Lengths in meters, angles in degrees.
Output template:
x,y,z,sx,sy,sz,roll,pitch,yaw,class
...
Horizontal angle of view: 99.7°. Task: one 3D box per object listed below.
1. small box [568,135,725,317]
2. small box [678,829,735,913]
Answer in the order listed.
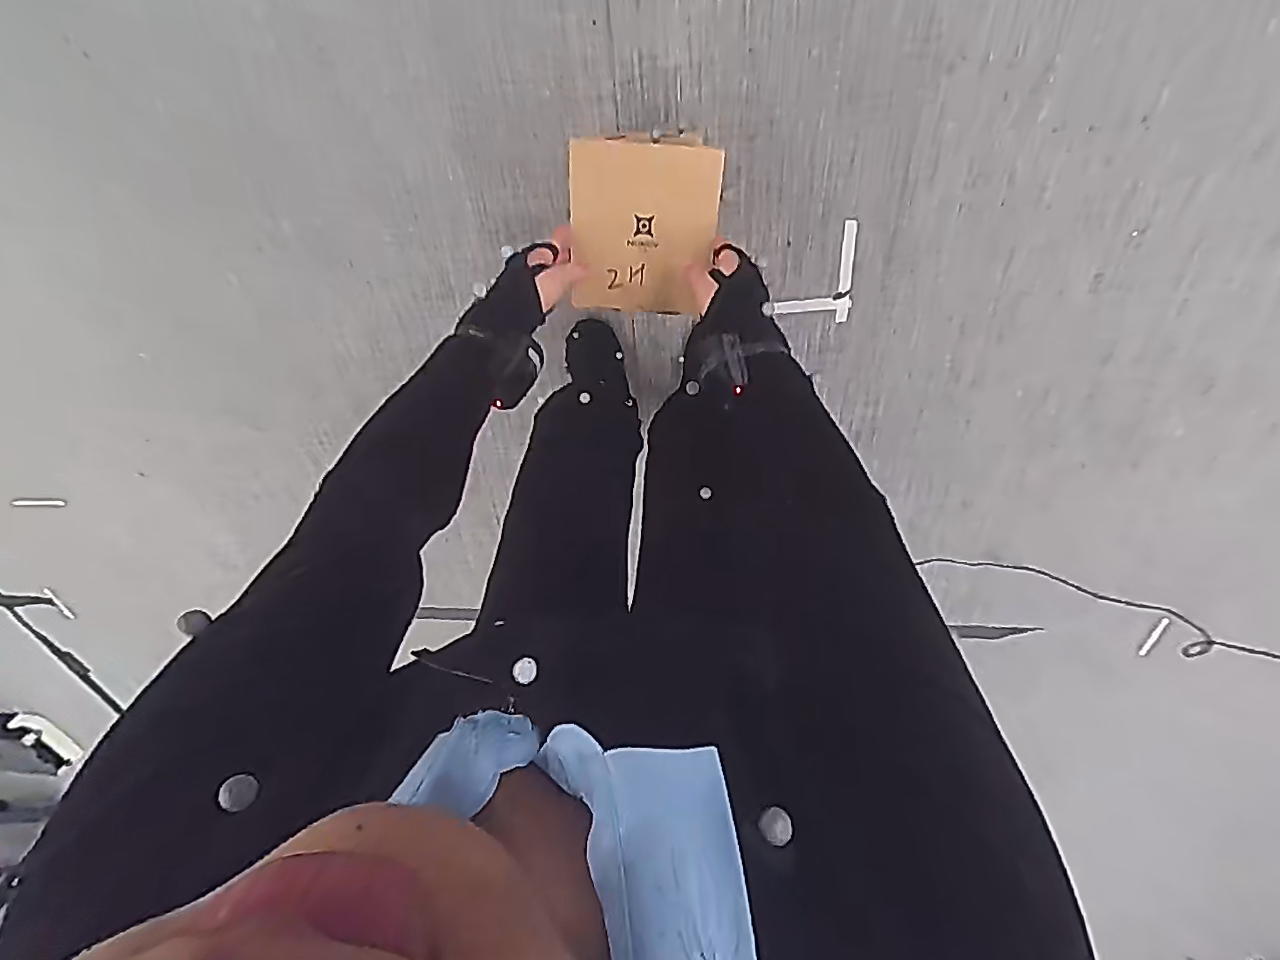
x,y,z,sx,sy,sz,roll,pitch,yaw,class
0.005,-0.314,0.666,0.168,0.176,0.179,4,122,1,small box
0.216,1.256,1.740,0.168,0.176,0.179,-5,123,9,small box
